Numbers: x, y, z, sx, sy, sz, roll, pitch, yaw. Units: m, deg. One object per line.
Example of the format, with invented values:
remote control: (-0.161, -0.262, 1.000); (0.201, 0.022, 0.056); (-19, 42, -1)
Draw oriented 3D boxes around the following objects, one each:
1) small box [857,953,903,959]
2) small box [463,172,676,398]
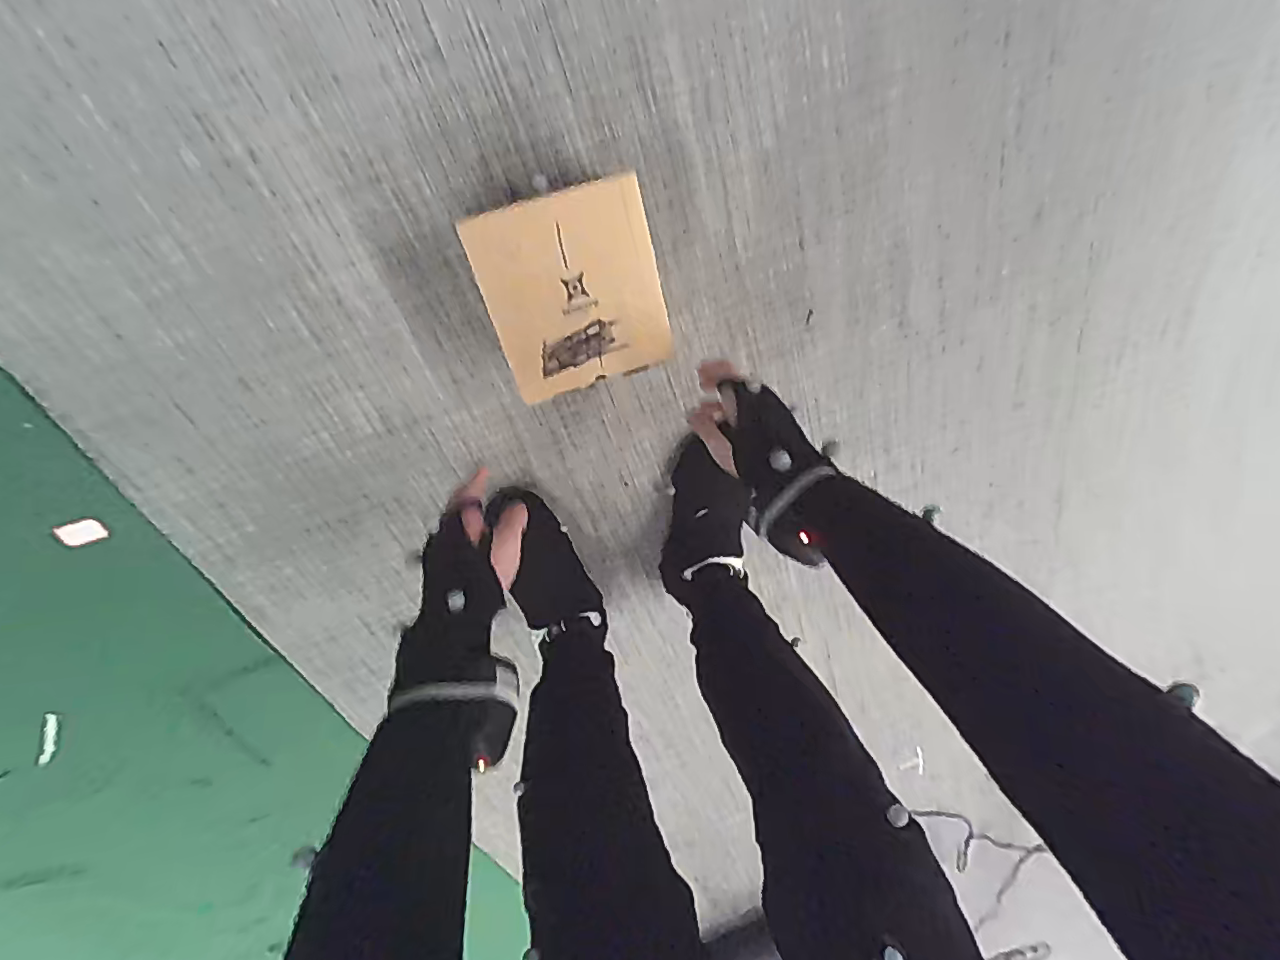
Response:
small box: (0.630, 1.379, 1.408); (0.179, 0.176, 0.168); (5, 114, -18)
small box: (-0.074, -0.214, 0.583); (0.168, 0.176, 0.179); (-18, 119, -5)
